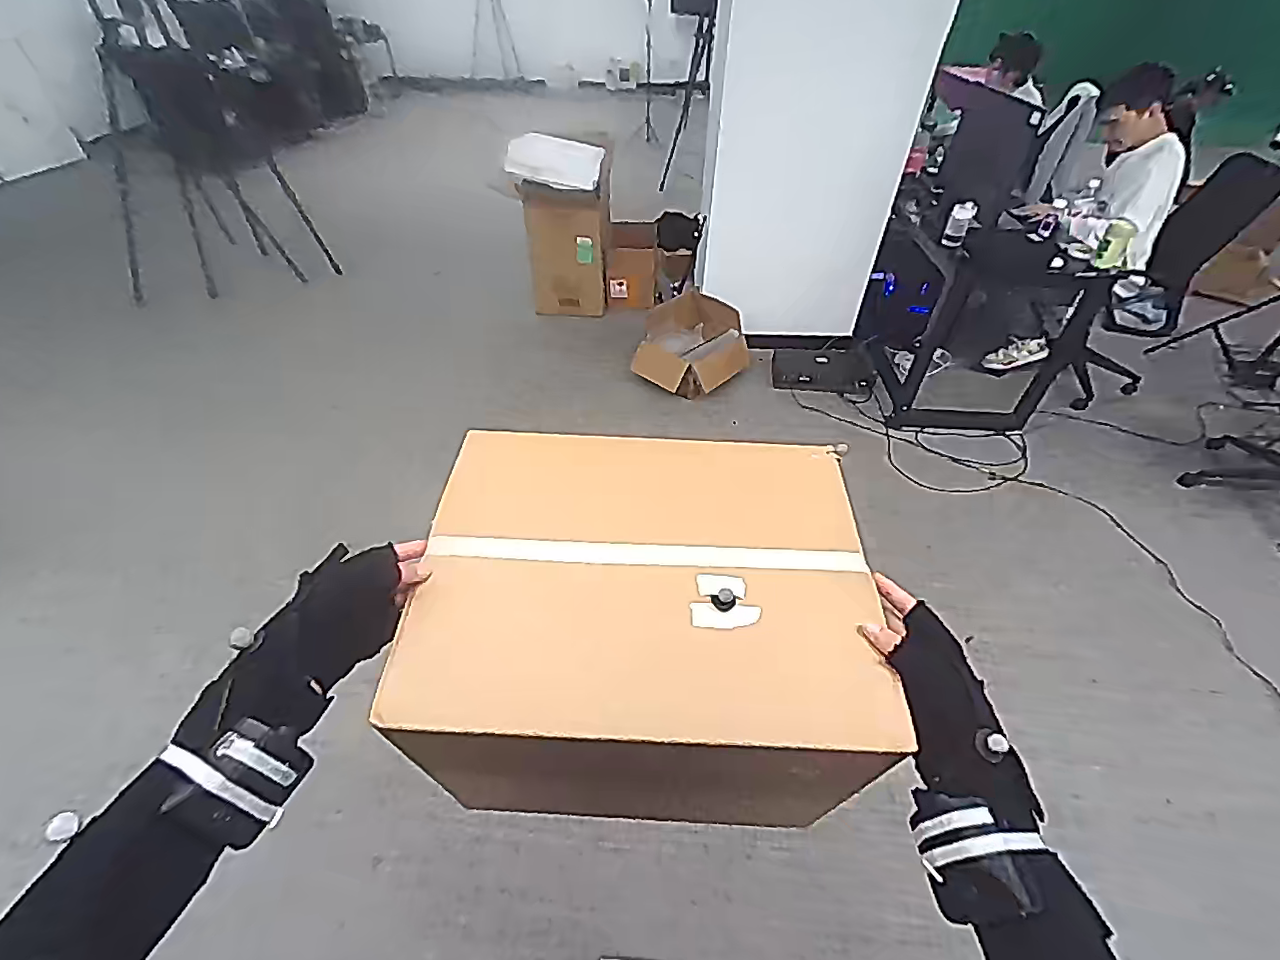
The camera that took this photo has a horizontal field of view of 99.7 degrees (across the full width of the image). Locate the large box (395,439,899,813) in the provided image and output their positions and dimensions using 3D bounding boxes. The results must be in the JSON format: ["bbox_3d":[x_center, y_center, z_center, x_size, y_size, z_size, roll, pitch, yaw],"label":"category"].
[{"bbox_3d":[0.004,0.173,0.626,0.408,0.320,0.320,3,49,0],"label":"large box"}]
